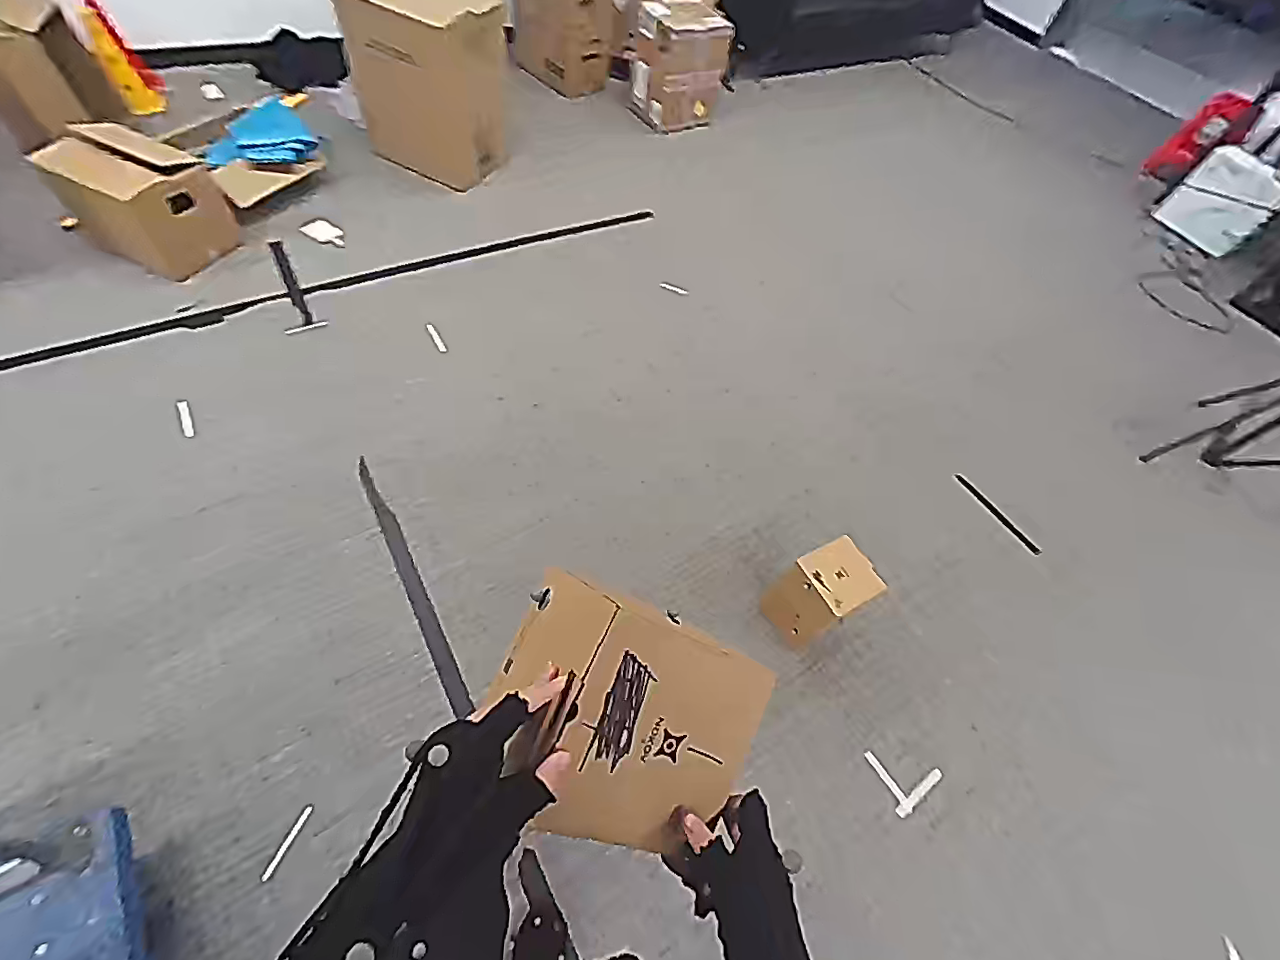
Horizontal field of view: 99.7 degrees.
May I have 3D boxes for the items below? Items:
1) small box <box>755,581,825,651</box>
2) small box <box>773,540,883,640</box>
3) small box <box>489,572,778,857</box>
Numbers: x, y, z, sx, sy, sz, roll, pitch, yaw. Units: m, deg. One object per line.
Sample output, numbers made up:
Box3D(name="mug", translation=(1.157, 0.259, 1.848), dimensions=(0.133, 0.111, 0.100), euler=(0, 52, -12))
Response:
Box3D(name="small box", translation=(0.461, 0.366, 1.544), dimensions=(0.168, 0.176, 0.179), euler=(-27, 64, -25))
Box3D(name="small box", translation=(0.478, 0.288, 1.401), dimensions=(0.179, 0.176, 0.168), euler=(-20, 62, -23))
Box3D(name="small box", translation=(-0.016, 0.197, 0.497), dimensions=(0.179, 0.176, 0.168), euler=(31, 80, -25))
